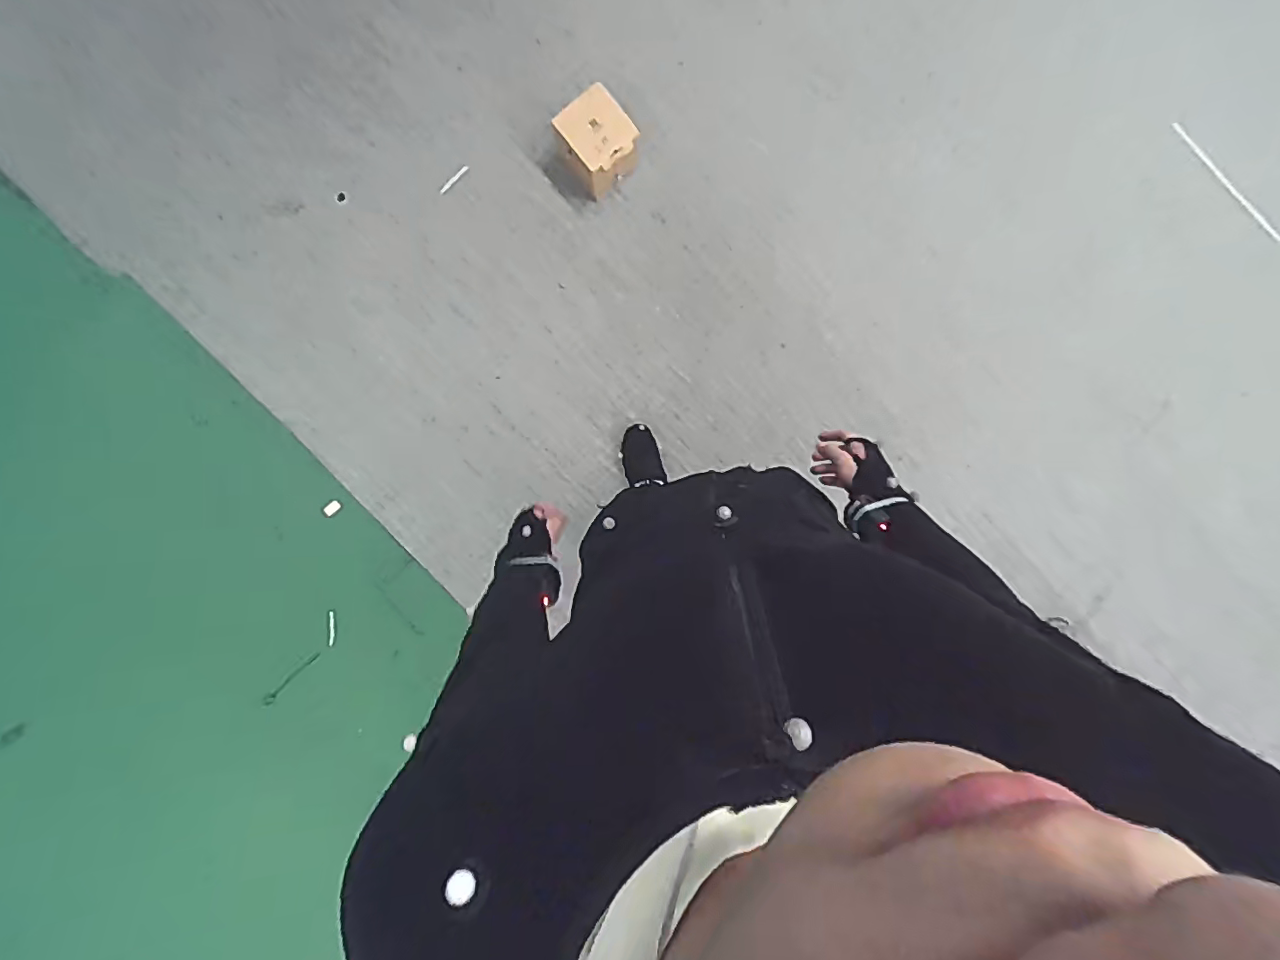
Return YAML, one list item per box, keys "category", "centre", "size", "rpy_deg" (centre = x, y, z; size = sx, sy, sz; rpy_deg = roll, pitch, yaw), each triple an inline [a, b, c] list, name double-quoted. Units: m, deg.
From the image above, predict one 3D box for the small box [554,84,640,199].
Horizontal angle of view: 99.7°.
- category: "small box"
  centre: [-0.114, -0.920, 1.488]
  size: [0.168, 0.176, 0.179]
  rpy_deg: [-32, 95, 3]

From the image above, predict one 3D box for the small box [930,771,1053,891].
- category: "small box"
  centre: [0.917, 0.913, 1.431]
  size: [0.179, 0.176, 0.168]
  rpy_deg: [44, 92, -3]
